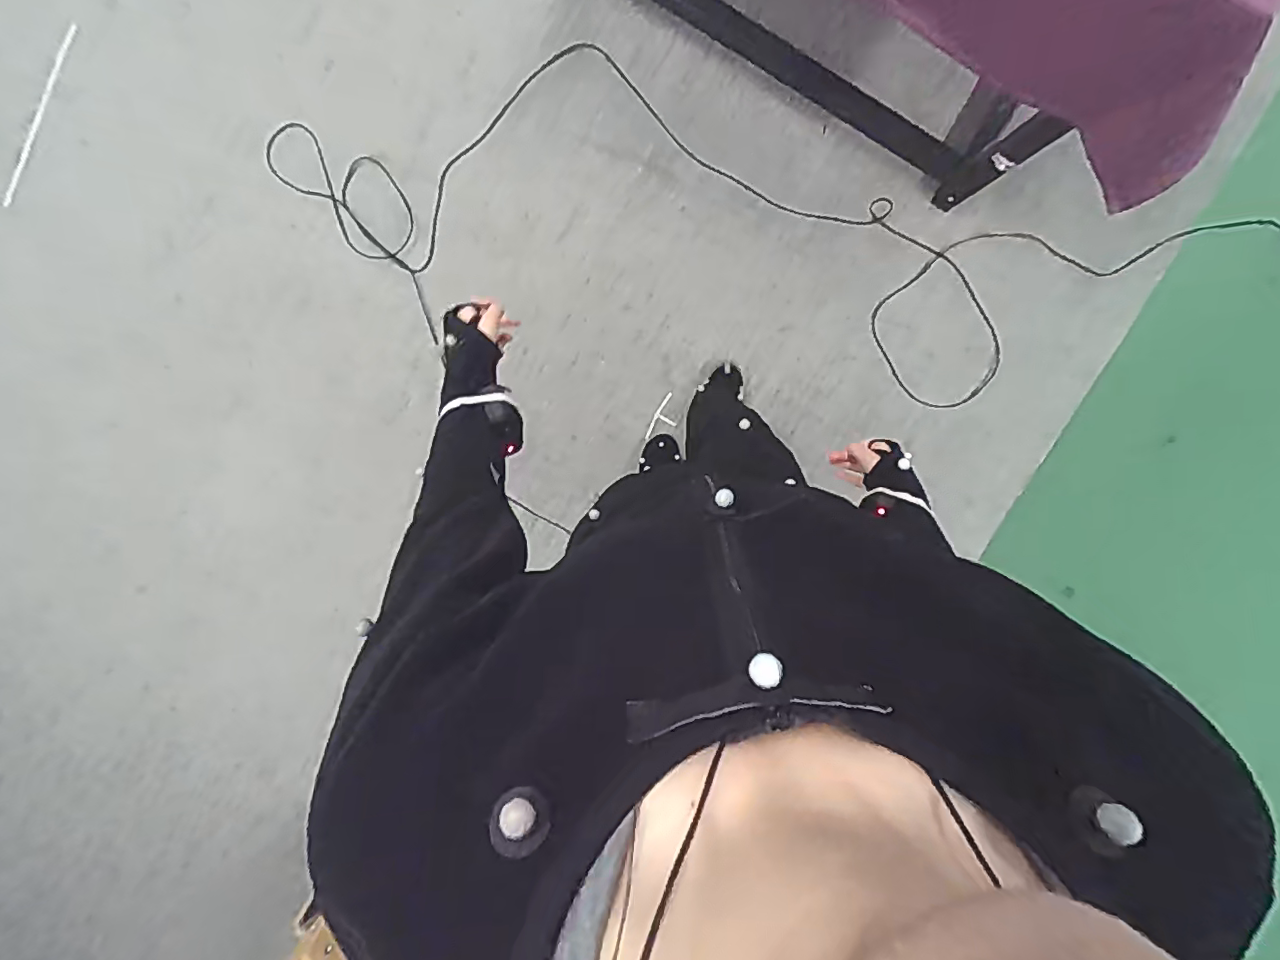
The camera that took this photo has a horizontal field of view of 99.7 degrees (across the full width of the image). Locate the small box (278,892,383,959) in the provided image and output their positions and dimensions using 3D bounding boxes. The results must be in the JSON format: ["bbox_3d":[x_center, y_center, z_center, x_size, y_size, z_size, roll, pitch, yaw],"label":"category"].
[{"bbox_3d":[-0.786,1.194,1.351,0.179,0.176,0.168,42,94,-5],"label":"small box"}]
